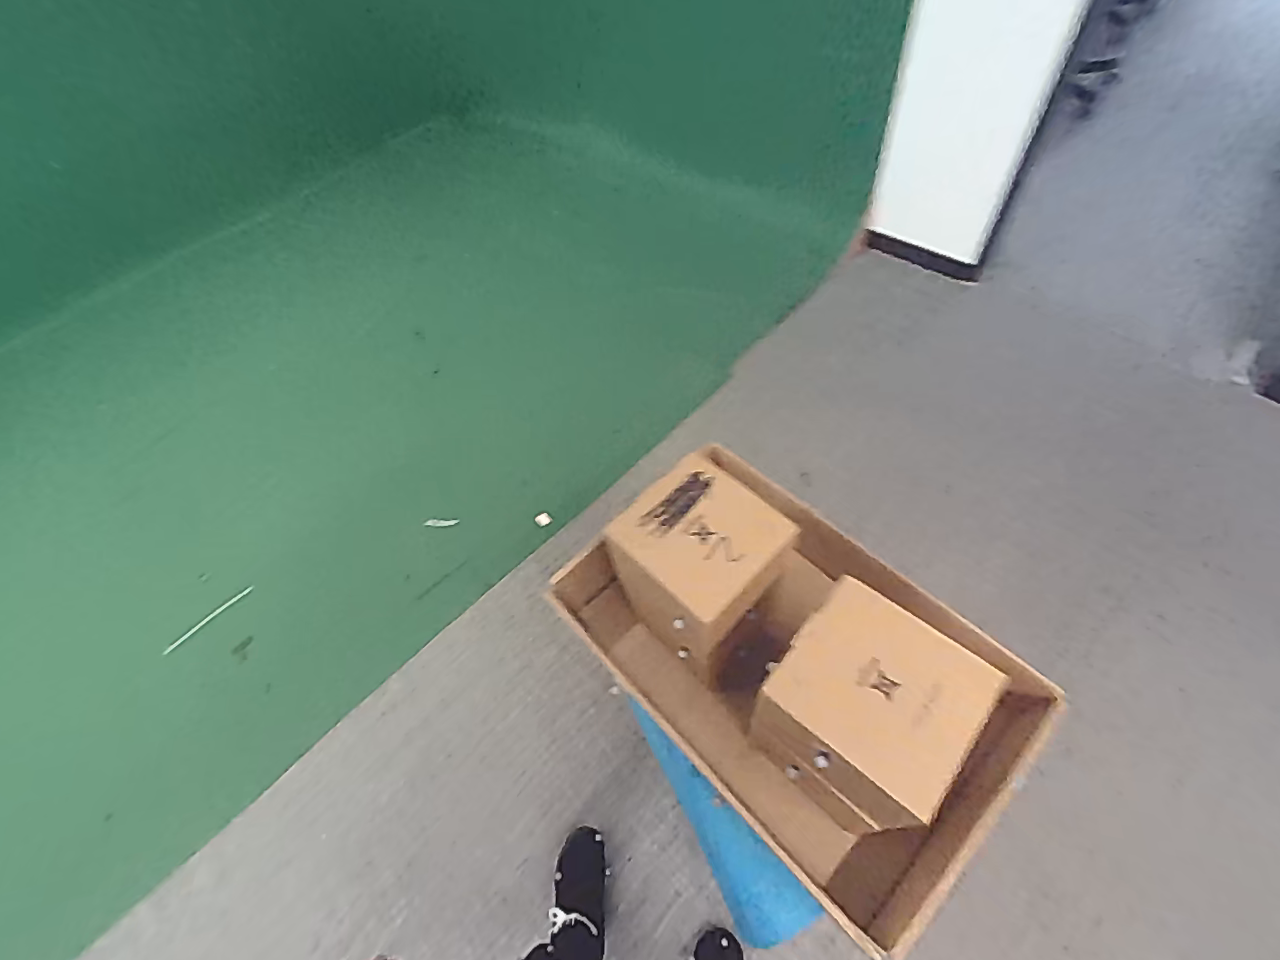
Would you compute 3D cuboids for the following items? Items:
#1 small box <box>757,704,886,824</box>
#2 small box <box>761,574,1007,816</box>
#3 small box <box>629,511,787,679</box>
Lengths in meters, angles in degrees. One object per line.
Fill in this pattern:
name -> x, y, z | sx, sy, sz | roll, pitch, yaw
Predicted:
small box -> 0.274, 0.335, 0.734 | 0.179, 0.176, 0.168 | 36, 69, 29
small box -> 0.250, 0.244, 0.601 | 0.179, 0.176, 0.168 | 35, 69, 28
small box -> 0.106, 0.188, 0.863 | 0.168, 0.176, 0.179 | -41, 62, -17
